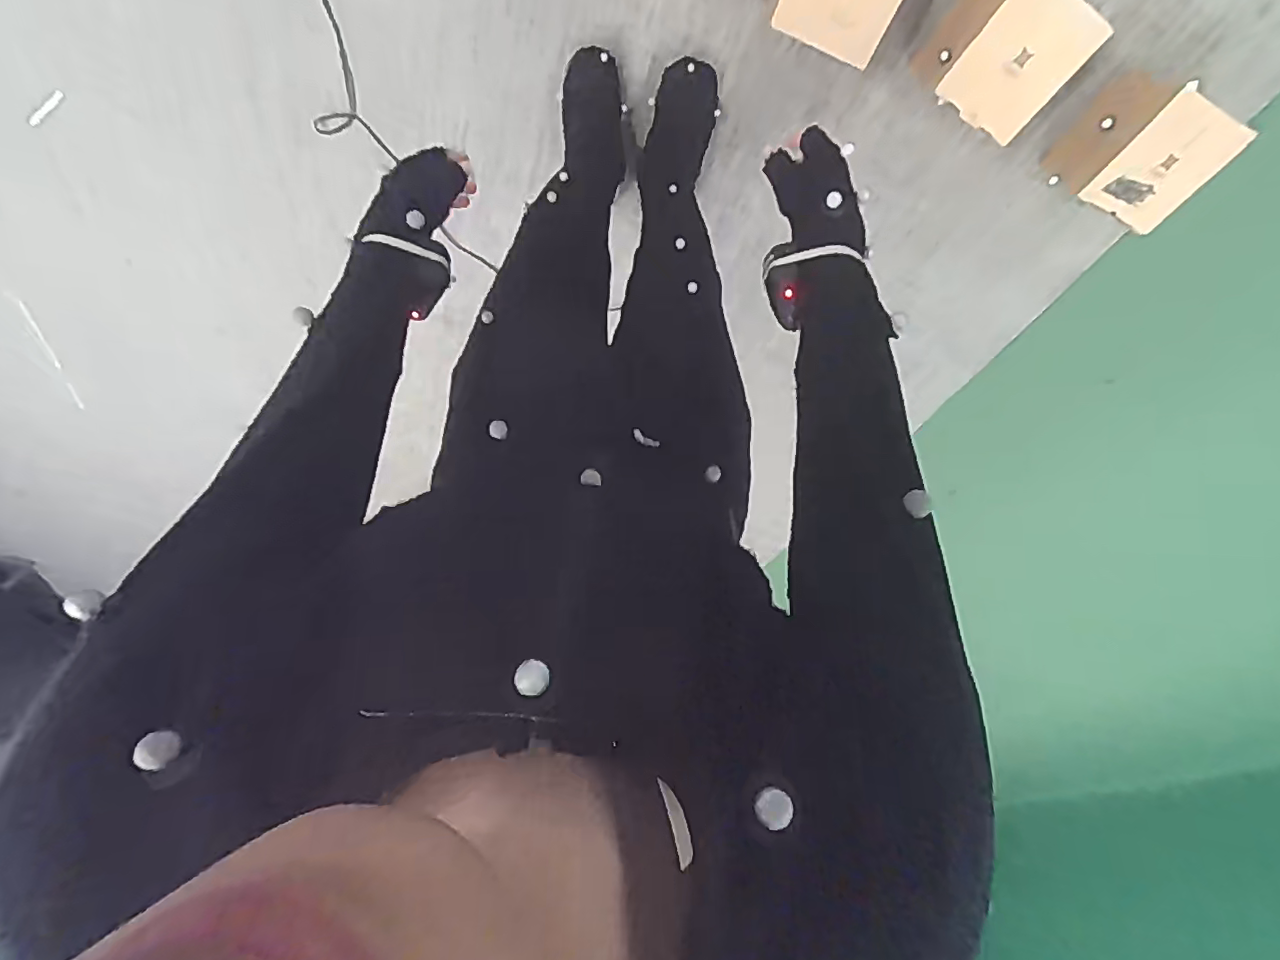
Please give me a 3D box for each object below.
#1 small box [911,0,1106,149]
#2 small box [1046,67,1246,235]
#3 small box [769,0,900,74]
[{"bbox_3d":[0.574,-0.687,0.871,0.168,0.176,0.179,23,136,-16],"label":"small box"},{"bbox_3d":[0.863,-0.576,0.949,0.168,0.176,0.179,19,136,-13],"label":"small box"},{"bbox_3d":[0.305,-0.768,0.820,0.168,0.176,0.179,18,139,-8],"label":"small box"}]
